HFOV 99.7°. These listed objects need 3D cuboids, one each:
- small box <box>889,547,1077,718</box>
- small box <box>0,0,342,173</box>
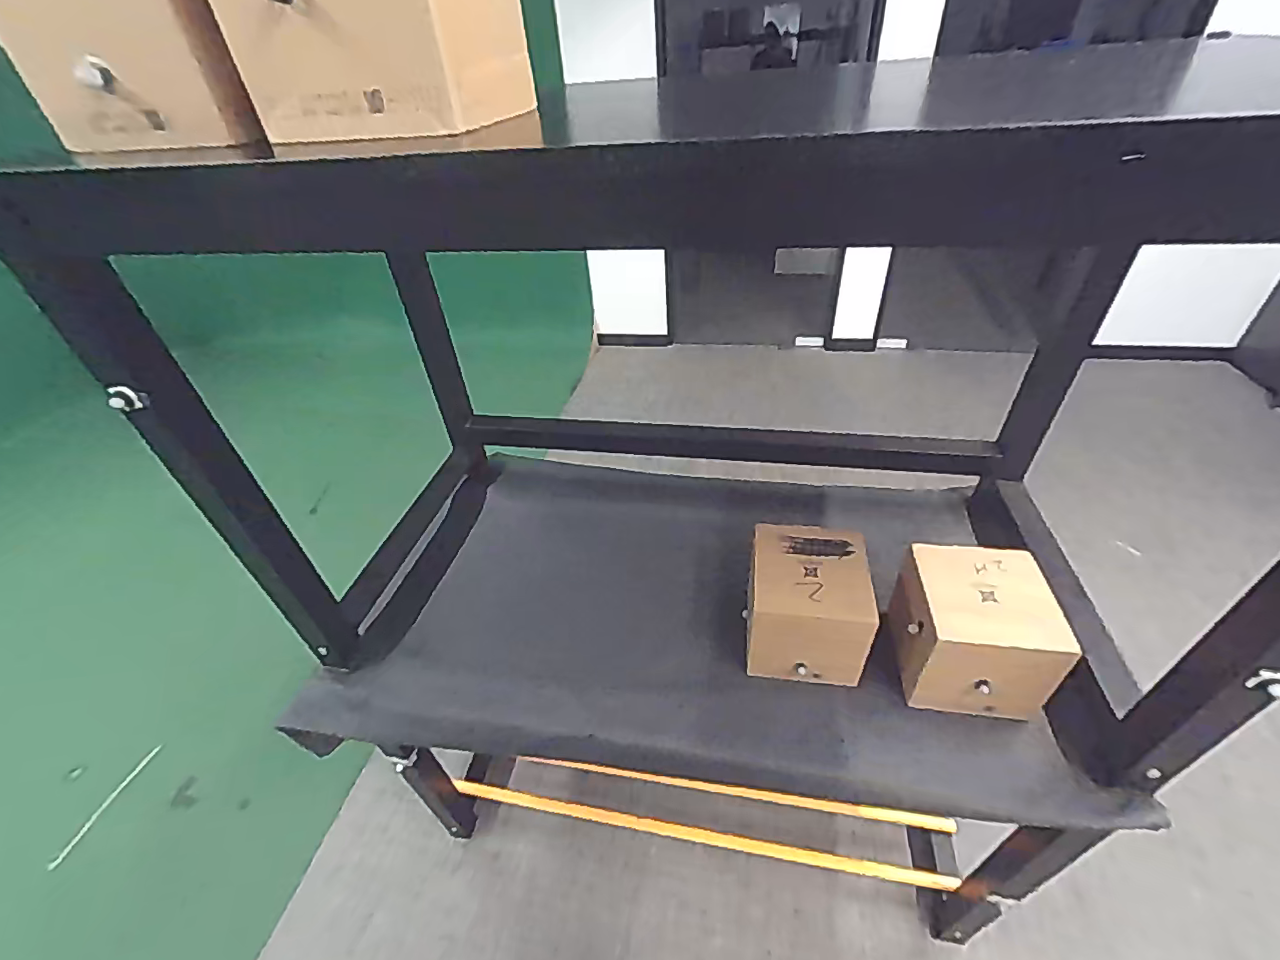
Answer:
[{"bbox_3d":[0.479,0.221,0.790,0.168,0.176,0.179,3,38,10],"label":"small box"},{"bbox_3d":[-0.396,-0.379,0.470,0.168,0.176,0.179,3,40,10],"label":"small box"}]
